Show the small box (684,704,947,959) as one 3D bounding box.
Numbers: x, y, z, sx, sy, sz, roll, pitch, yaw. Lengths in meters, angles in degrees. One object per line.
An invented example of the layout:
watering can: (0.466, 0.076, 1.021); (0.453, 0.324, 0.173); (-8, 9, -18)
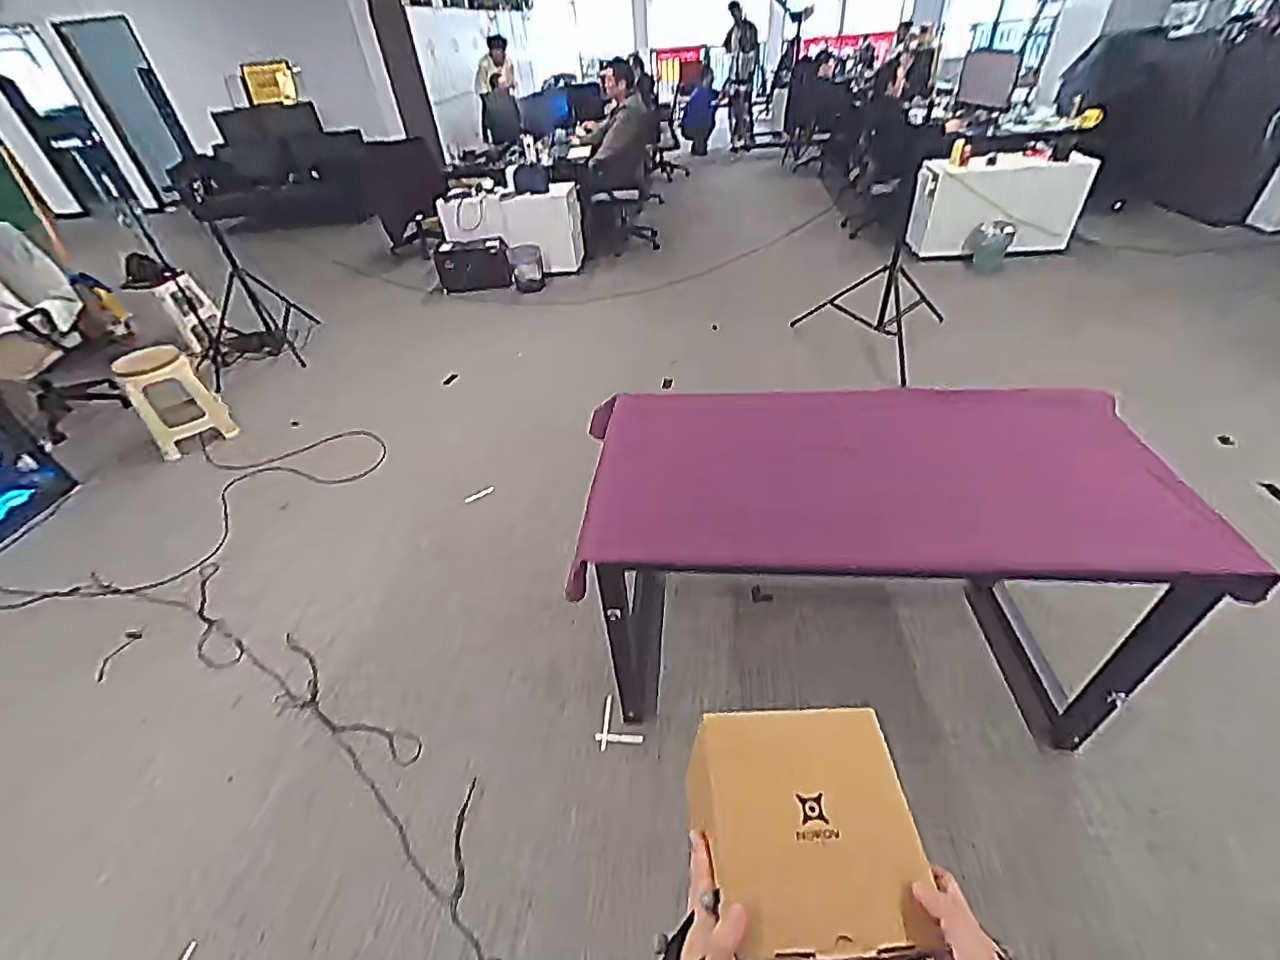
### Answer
small box: (0.136, 0.331, 0.504); (0.168, 0.176, 0.179); (0, 44, -3)
